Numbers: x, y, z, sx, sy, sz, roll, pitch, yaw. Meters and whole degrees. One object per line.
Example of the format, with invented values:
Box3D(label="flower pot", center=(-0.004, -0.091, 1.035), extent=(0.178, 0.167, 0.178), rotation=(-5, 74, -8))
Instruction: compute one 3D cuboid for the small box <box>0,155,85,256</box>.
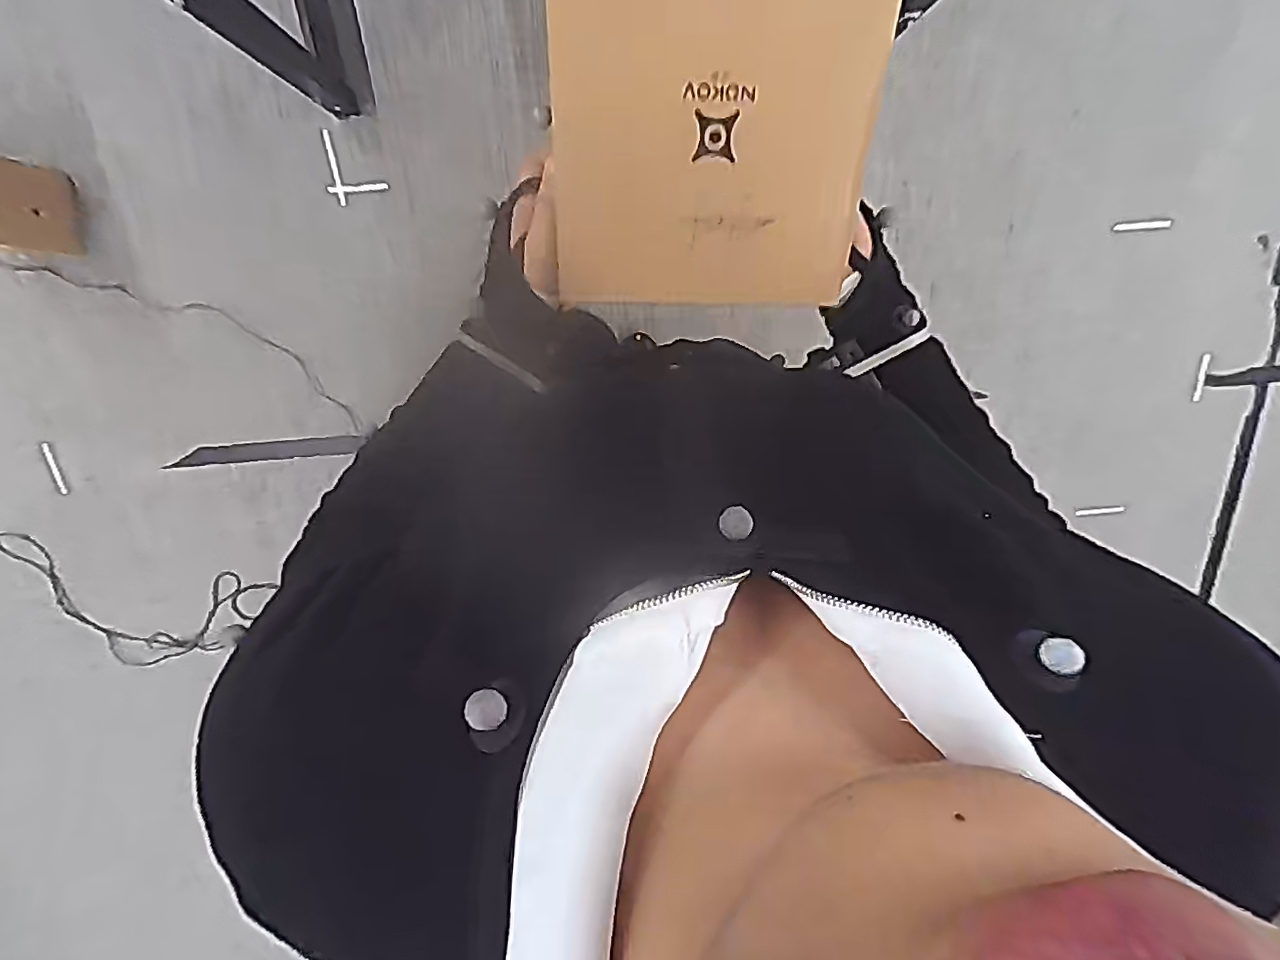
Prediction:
Box3D(label="small box", center=(-1.347, -0.581, 1.141), extent=(0.168, 0.176, 0.179), rotation=(2, 108, -5))

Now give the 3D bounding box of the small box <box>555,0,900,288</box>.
Box3D(label="small box", center=(0.034, -0.228, 0.340), extent=(0.168, 0.176, 0.179), rotation=(0, 121, -3))

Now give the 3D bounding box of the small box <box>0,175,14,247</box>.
Box3D(label="small box", center=(-1.325, -0.525, 0.988), extent=(0.179, 0.176, 0.168), rotation=(-1, 107, -4))
